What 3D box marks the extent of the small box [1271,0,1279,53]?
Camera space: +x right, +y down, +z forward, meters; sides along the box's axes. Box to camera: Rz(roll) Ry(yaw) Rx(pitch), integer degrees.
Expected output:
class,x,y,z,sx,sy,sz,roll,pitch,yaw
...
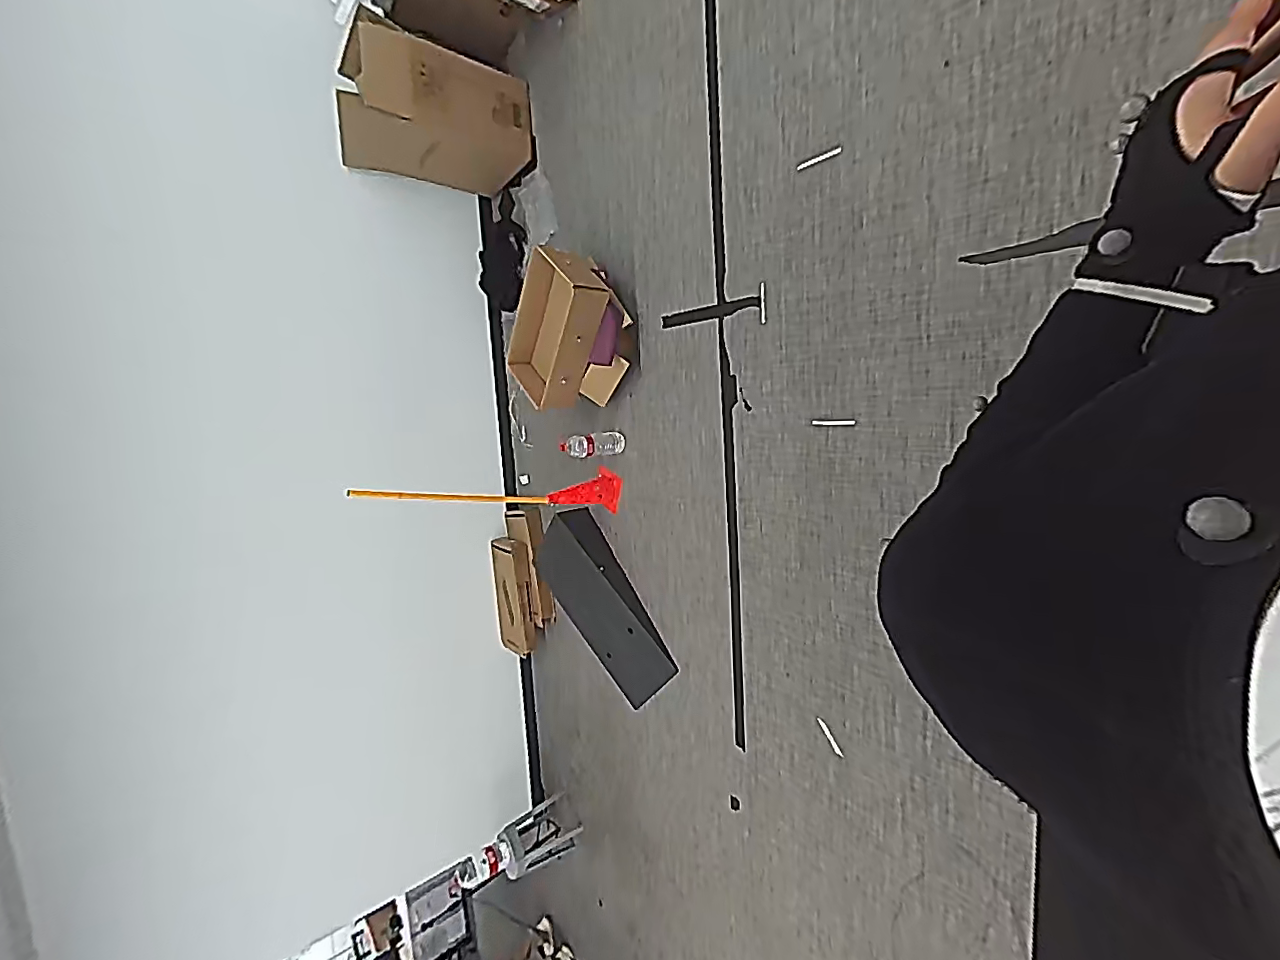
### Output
class,x,y,z,sx,sy,sz,roll,pitch,yaw
small box,0.457,-0.326,0.267,0.179,0.176,0.168,5,109,50
